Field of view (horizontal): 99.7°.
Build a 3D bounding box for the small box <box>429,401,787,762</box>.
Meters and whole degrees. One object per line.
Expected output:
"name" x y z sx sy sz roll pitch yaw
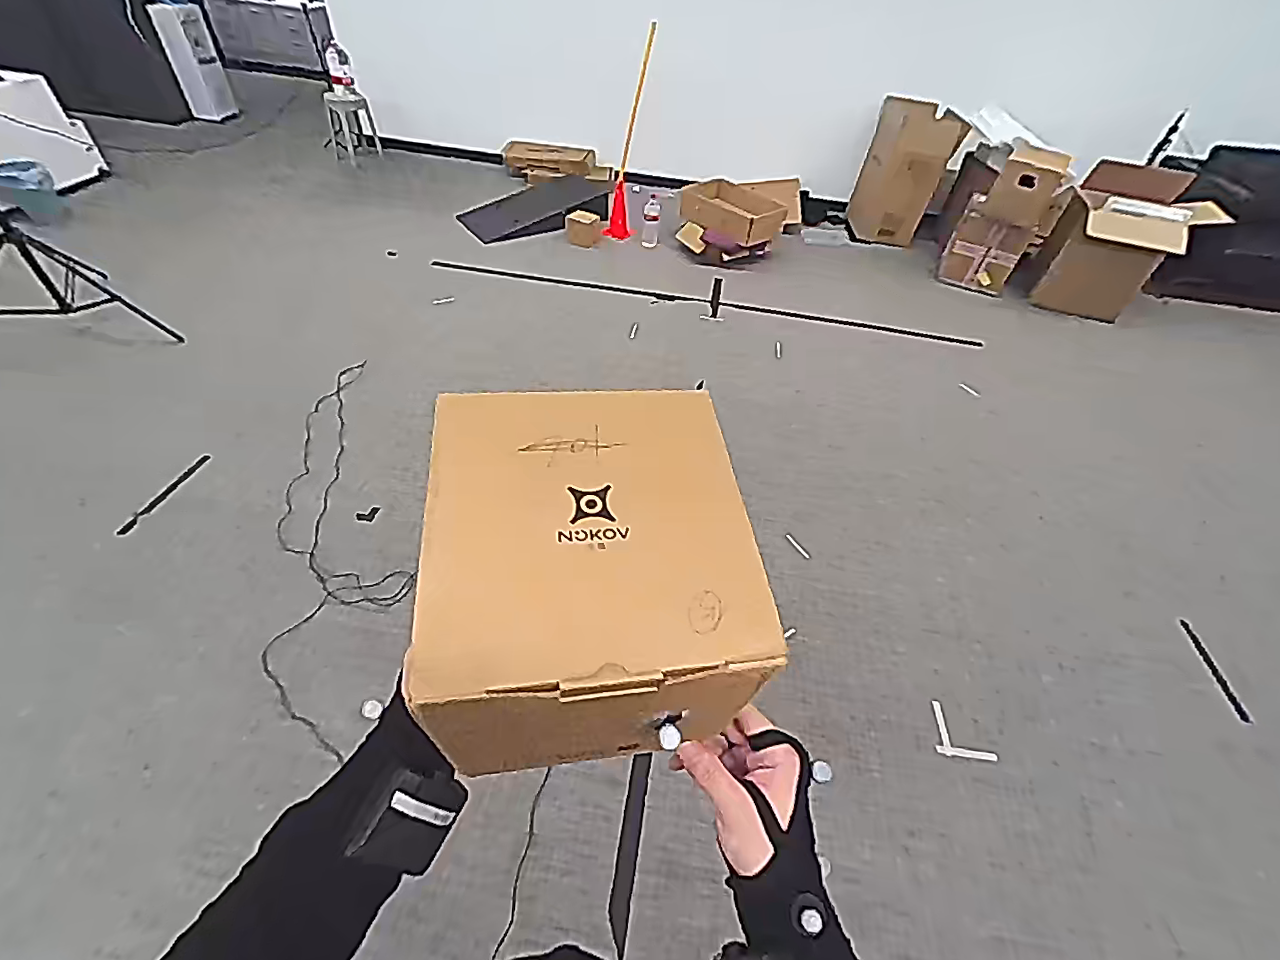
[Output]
"small box" -0.031 0.070 0.351 0.168 0.176 0.179 -3 53 -12
